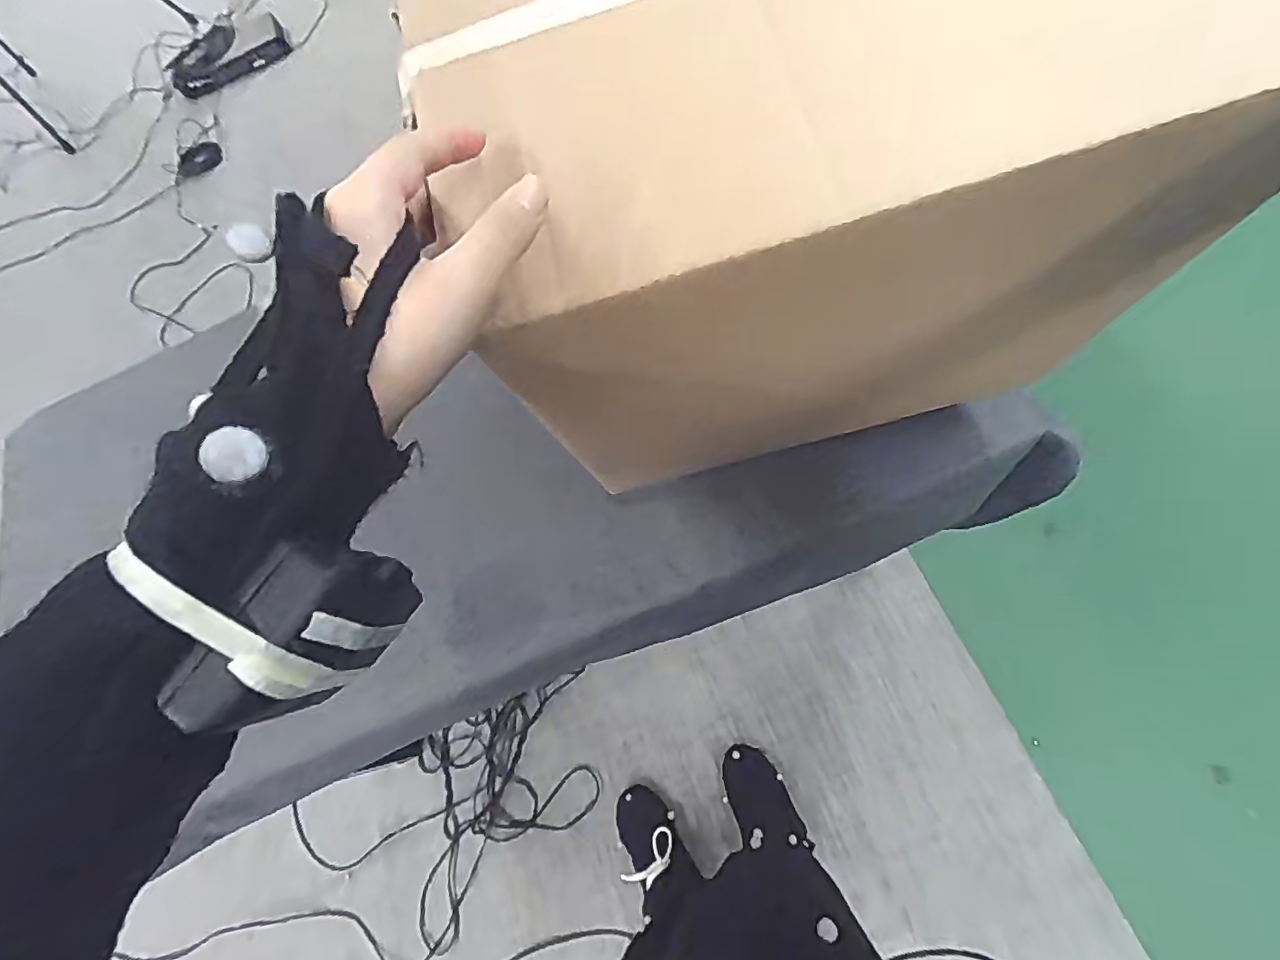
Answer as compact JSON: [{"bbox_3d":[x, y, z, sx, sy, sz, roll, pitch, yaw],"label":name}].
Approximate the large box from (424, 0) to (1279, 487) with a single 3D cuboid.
[{"bbox_3d":[0.107,-0.221,0.406,0.408,0.320,0.320,-15,75,4],"label":"large box"}]
